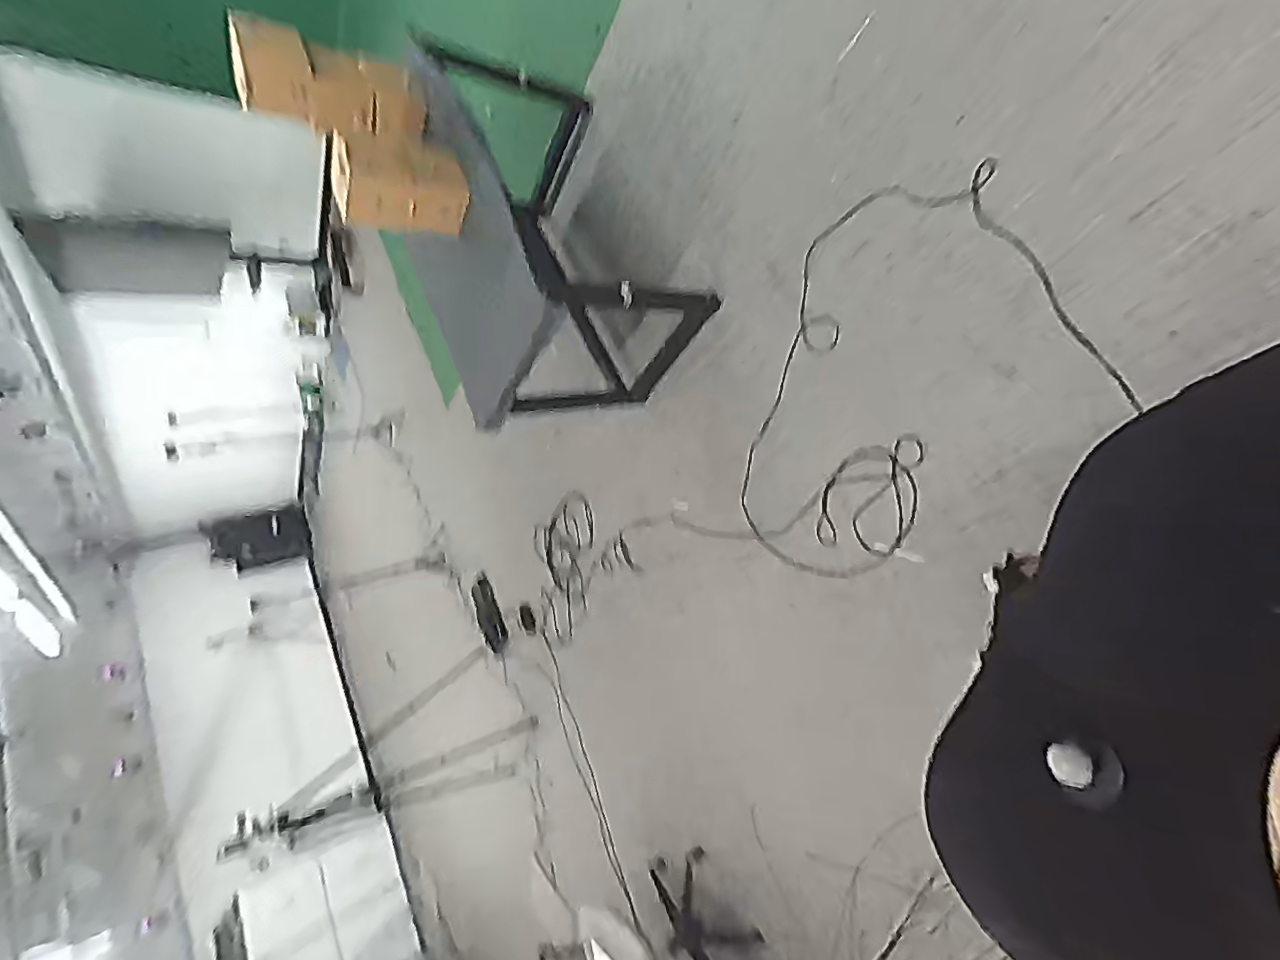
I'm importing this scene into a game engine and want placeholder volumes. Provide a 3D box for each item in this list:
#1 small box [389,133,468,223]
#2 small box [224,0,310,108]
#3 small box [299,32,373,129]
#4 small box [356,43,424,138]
[{"bbox_3d":[-0.643,-0.911,1.648,0.168,0.176,0.179,-43,68,47],"label":"small box"},{"bbox_3d":[-1.062,-1.208,1.547,0.168,0.176,0.179,-43,67,50],"label":"small box"},{"bbox_3d":[-0.940,-1.217,1.660,0.179,0.176,0.168,60,141,18],"label":"small box"},{"bbox_3d":[-0.820,-1.256,1.762,0.179,0.176,0.168,-38,71,49],"label":"small box"}]
